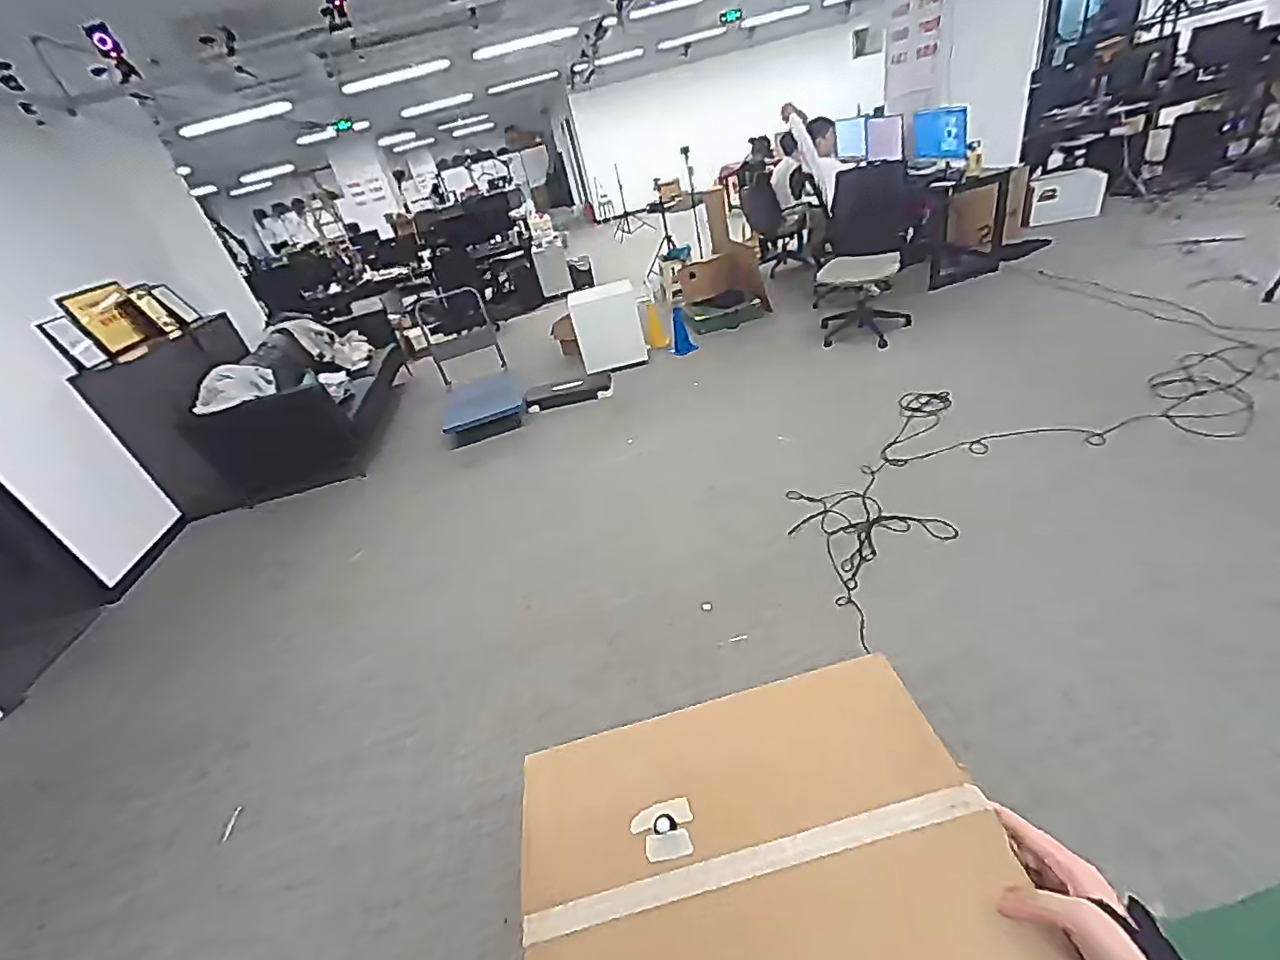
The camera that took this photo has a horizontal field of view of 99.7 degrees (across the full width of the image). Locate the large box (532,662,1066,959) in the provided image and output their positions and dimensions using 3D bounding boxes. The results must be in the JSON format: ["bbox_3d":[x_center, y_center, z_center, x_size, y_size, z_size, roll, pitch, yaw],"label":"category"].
[{"bbox_3d":[0.136,0.456,0.557,0.408,0.320,0.320,-18,36,1],"label":"large box"}]
